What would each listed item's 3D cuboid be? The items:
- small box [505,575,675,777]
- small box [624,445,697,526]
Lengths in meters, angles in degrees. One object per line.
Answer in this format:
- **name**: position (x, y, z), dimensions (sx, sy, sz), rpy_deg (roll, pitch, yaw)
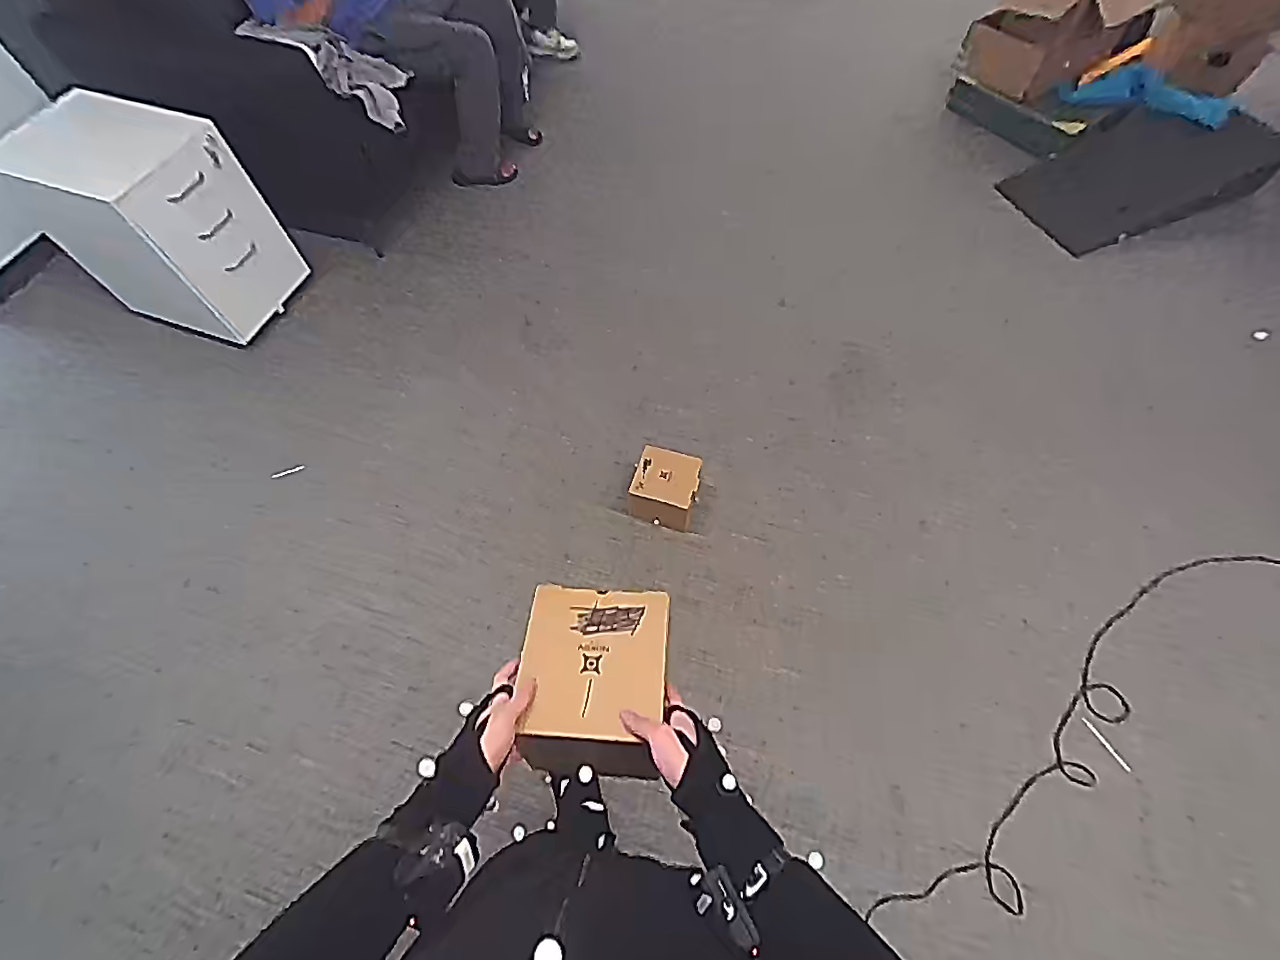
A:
- **small box**: position (-0.049, 0.243, 0.668), dimensions (0.168, 0.176, 0.179), rpy_deg (5, 50, 6)
- **small box**: position (0.060, 0.022, 1.610), dimensions (0.179, 0.176, 0.168), rpy_deg (14, 64, 7)
